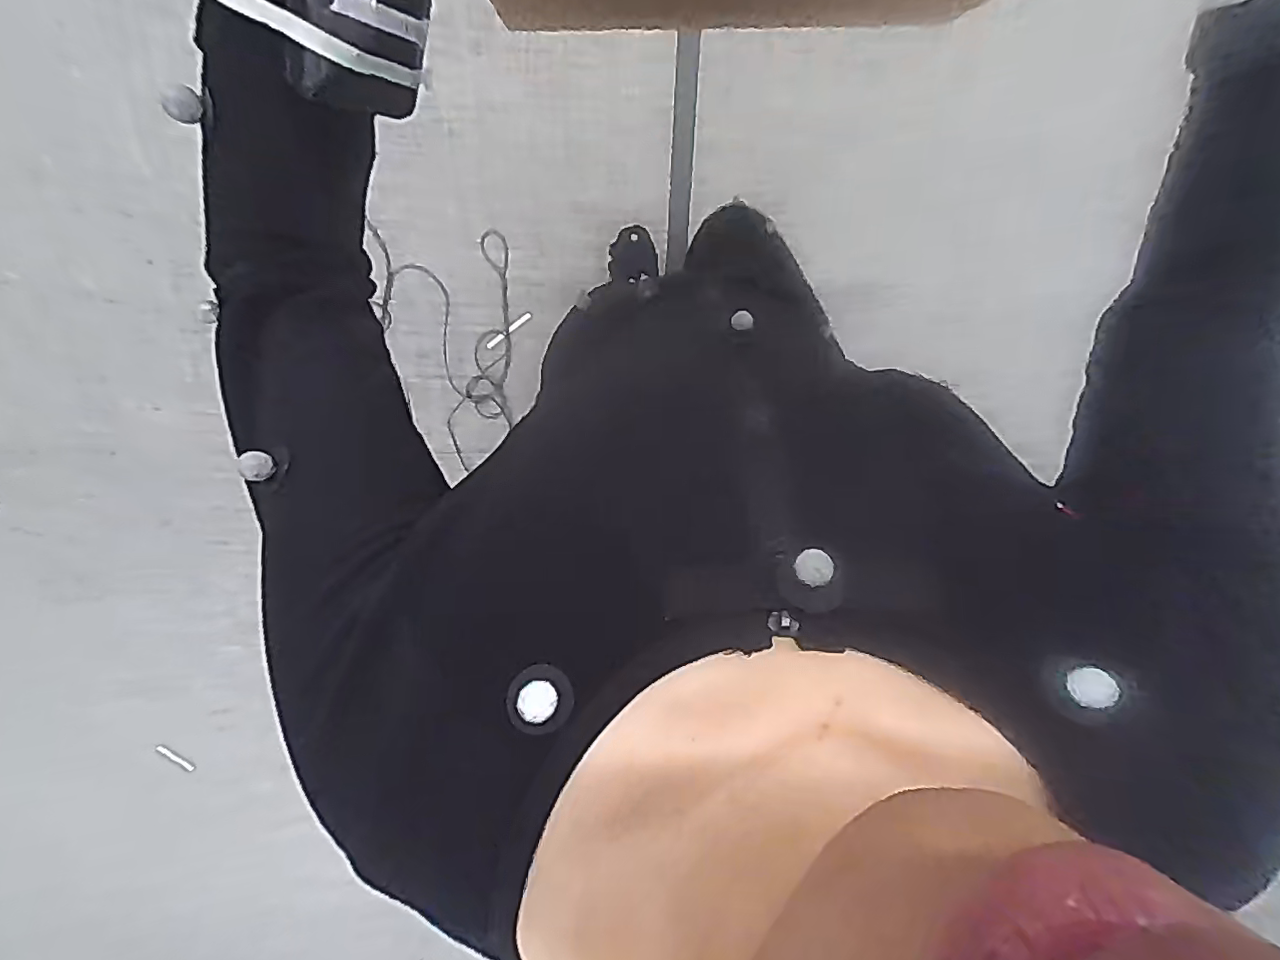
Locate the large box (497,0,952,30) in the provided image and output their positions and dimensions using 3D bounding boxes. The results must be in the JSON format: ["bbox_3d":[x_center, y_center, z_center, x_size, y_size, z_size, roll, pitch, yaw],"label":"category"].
[{"bbox_3d":[0.077,-0.489,0.290,0.408,0.320,0.320,-3,116,-1],"label":"large box"}]
